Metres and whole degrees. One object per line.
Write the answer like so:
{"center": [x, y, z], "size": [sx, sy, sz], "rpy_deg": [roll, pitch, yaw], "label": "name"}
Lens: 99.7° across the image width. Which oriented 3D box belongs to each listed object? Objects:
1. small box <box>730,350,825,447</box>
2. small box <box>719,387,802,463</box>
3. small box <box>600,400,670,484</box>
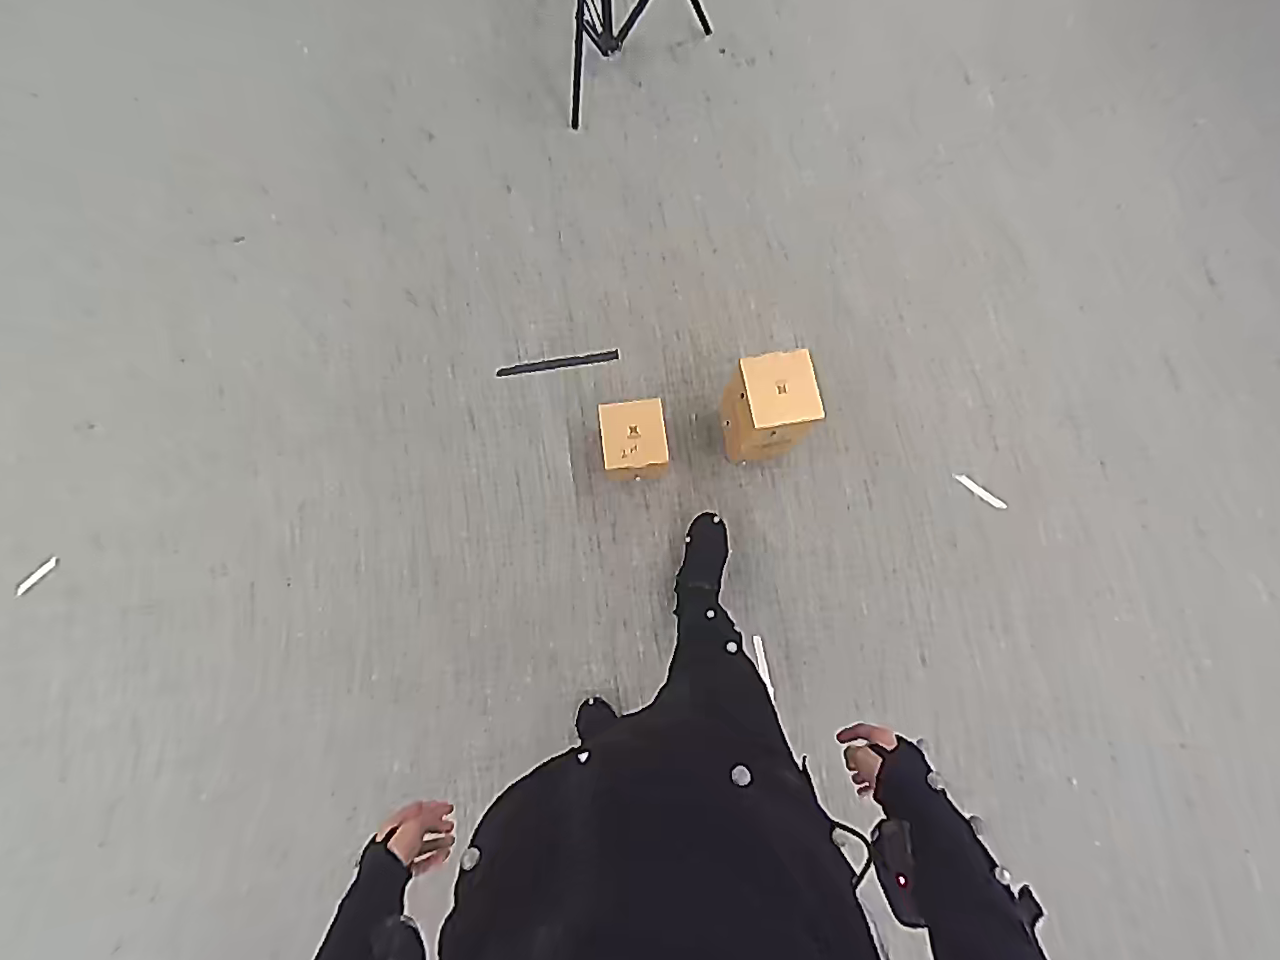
{"center": [0.325, -0.187, 1.305], "size": [0.168, 0.176, 0.179], "rpy_deg": [-10, 77, -2], "label": "small box"}
{"center": [0.320, -0.152, 1.463], "size": [0.168, 0.176, 0.179], "rpy_deg": [-10, 77, -3], "label": "small box"}
{"center": [-0.015, -0.098, 1.449], "size": [0.168, 0.176, 0.179], "rpy_deg": [-7, 79, -2], "label": "small box"}
